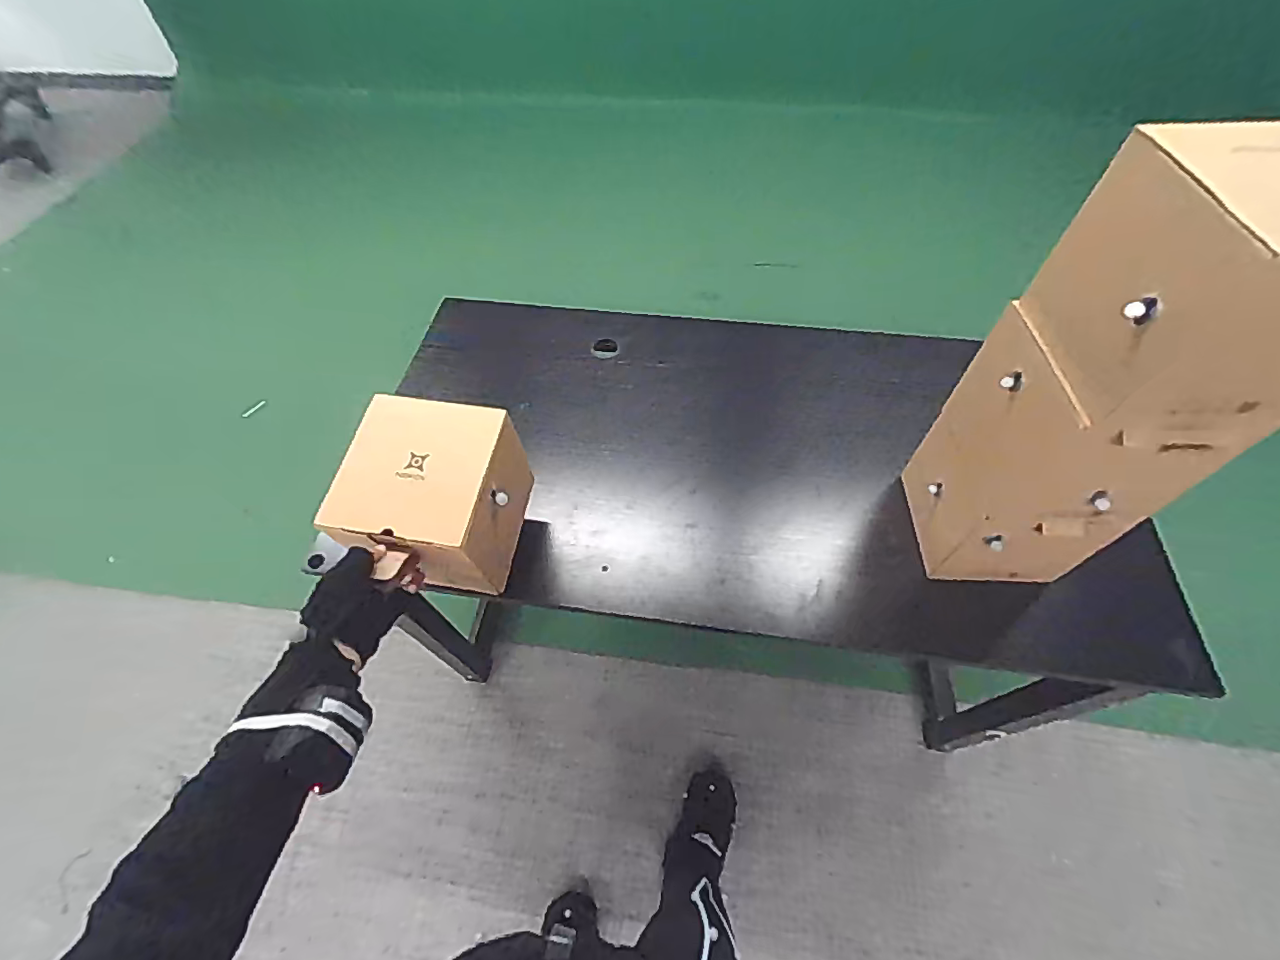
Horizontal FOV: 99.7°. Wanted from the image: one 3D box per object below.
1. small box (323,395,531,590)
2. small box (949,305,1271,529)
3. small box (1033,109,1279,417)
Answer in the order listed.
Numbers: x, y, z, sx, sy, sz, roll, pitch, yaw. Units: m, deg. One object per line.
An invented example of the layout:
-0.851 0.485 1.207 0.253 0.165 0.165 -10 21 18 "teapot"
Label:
-0.244 0.021 0.675 0.168 0.176 0.179 8 64 5 "small box"
0.466 -0.065 0.580 0.168 0.176 0.179 -1 56 2 "small box"
0.468 -0.164 0.430 0.168 0.176 0.179 0 56 2 "small box"
